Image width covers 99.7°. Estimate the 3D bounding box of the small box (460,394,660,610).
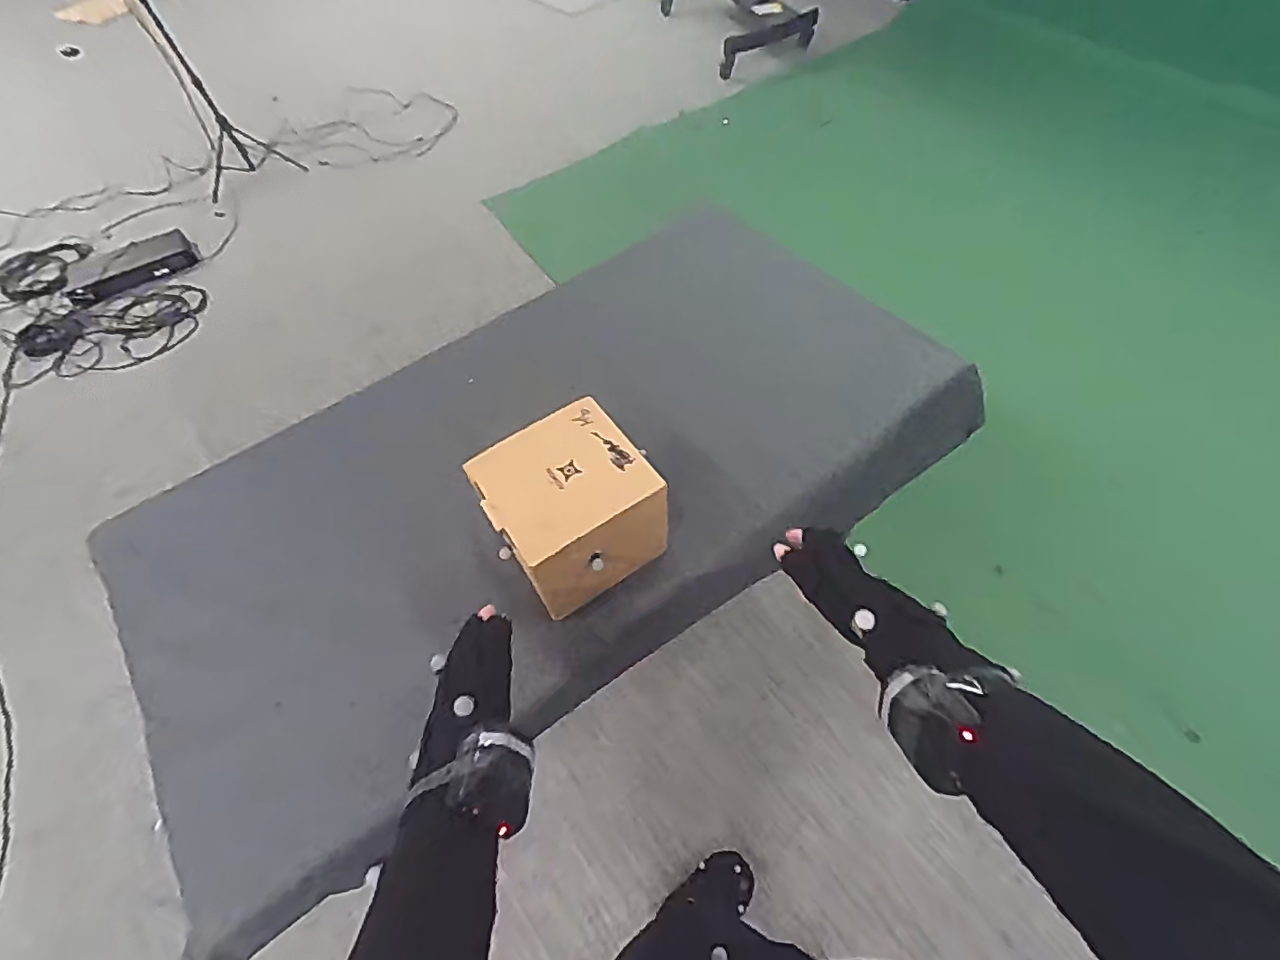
[{"bbox_3d":[-0.087,0.033,0.673,0.179,0.176,0.168,-32,61,-14],"label":"small box"}]
